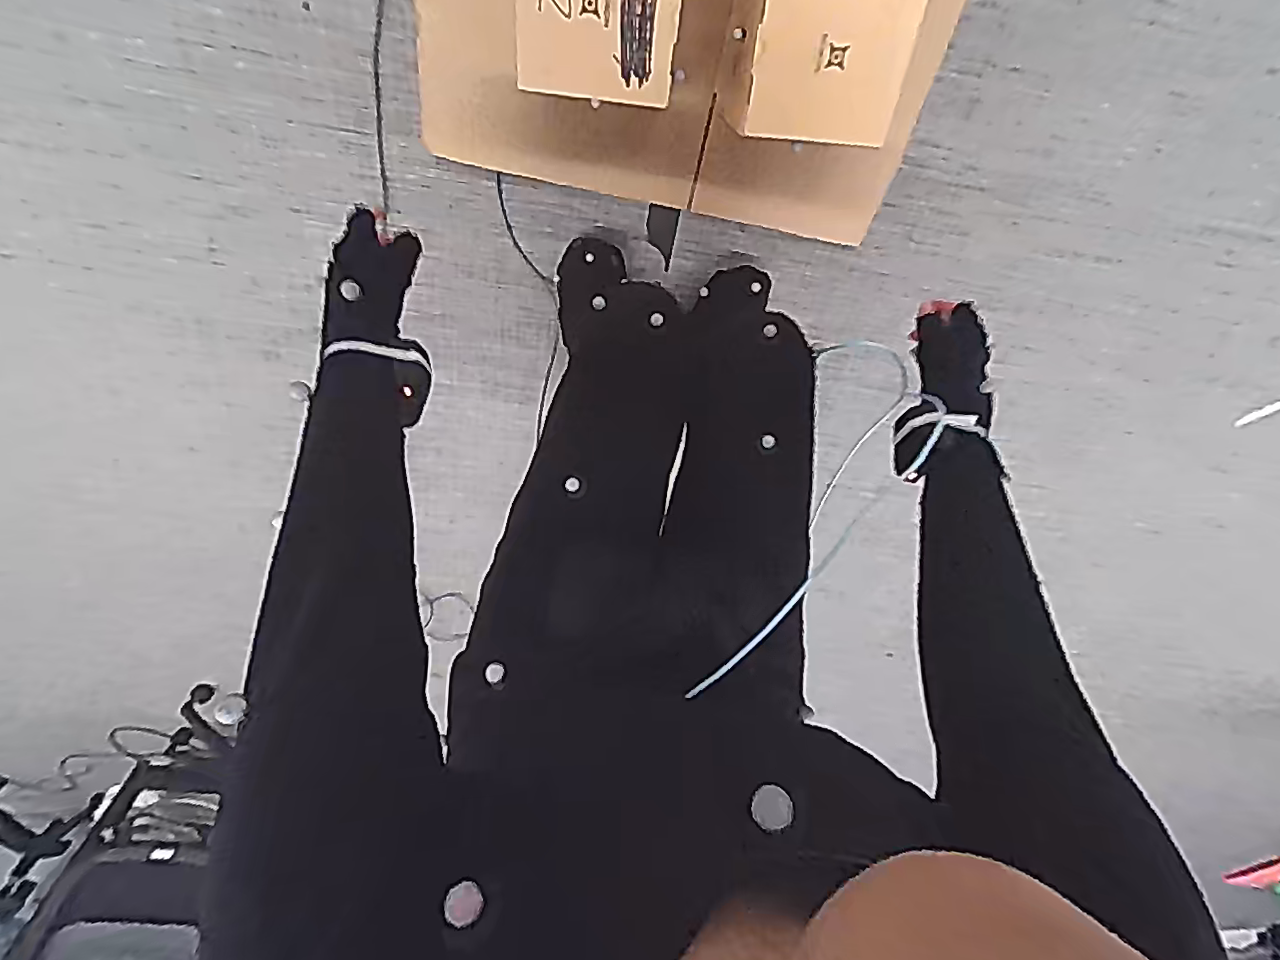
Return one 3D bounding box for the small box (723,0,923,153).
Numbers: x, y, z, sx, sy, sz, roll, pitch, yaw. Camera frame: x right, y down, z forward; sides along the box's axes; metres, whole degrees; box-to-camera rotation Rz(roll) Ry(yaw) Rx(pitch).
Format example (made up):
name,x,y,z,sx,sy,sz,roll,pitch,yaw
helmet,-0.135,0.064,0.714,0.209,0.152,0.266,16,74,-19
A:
name,x,y,z,sx,sy,sz,roll,pitch,yaw
small box,0.209,-0.520,0.667,0.179,0.176,0.168,4,129,-2
